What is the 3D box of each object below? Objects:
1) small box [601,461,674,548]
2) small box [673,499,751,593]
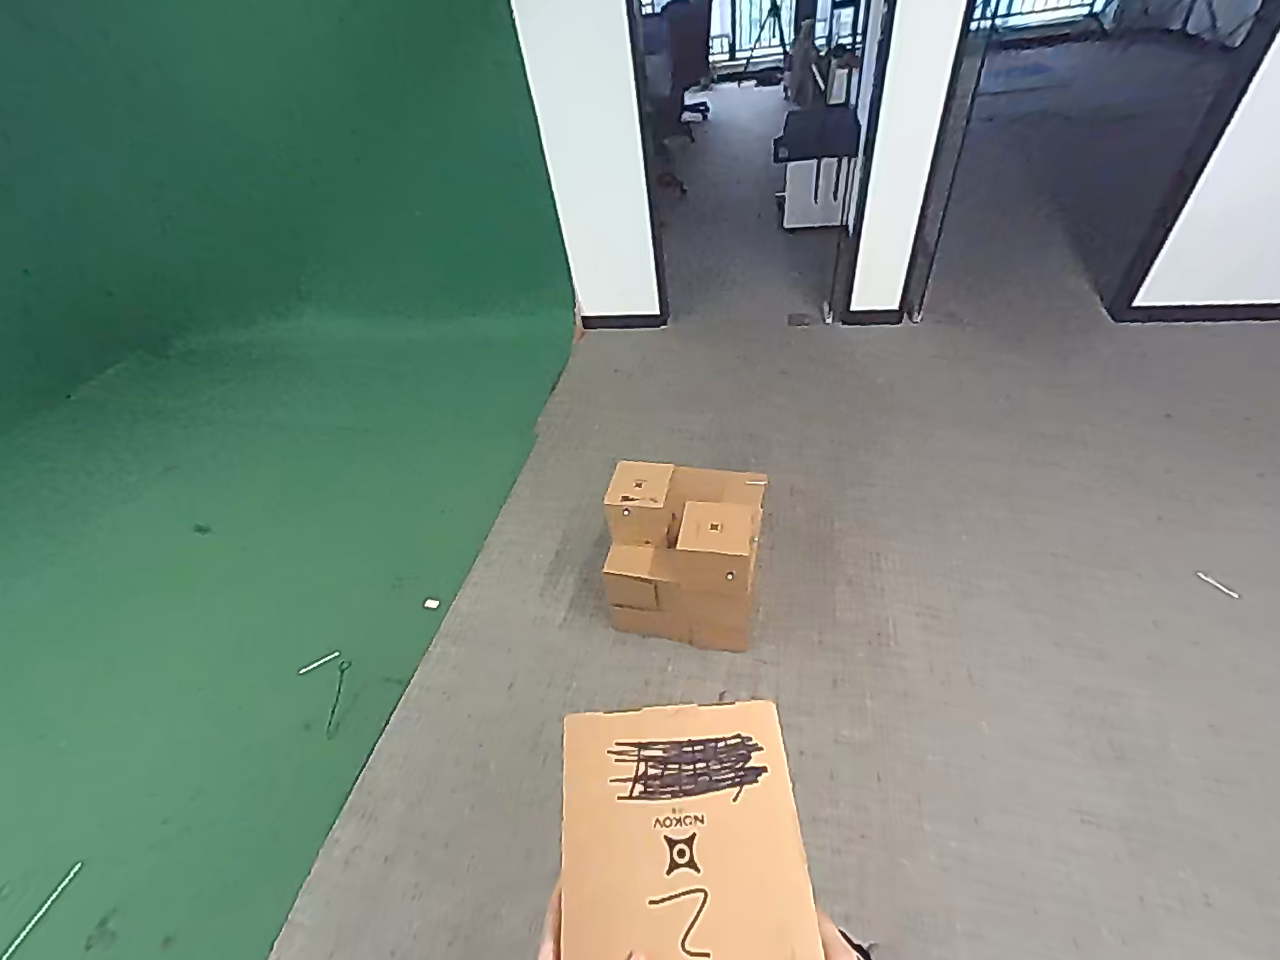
[{"bbox_3d":[0.001,0.068,1.530,0.168,0.176,0.179,4,44,15],"label":"small box"},{"bbox_3d":[0.190,0.171,1.386,0.179,0.176,0.168,3,44,14],"label":"small box"}]
